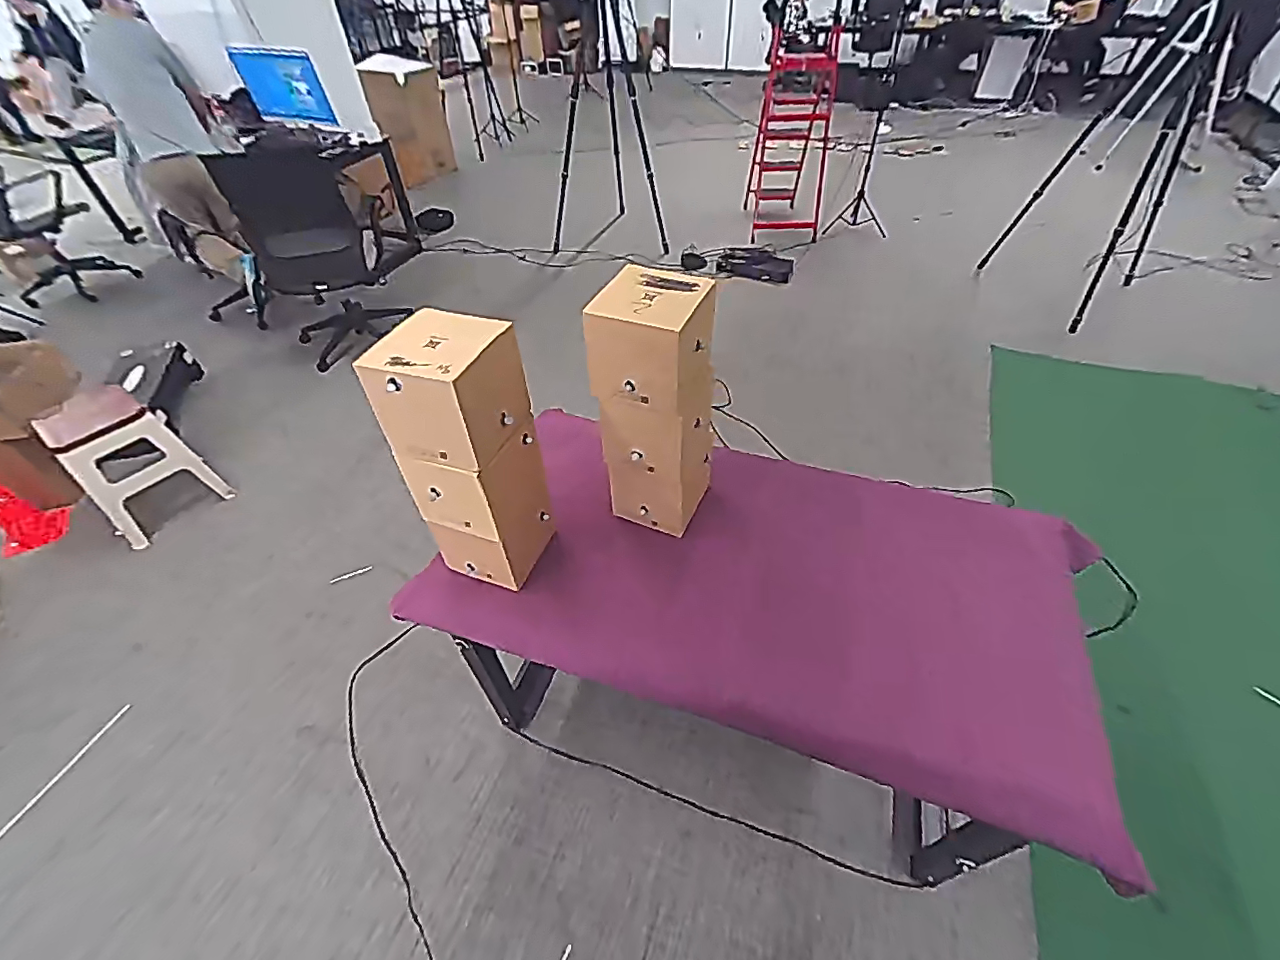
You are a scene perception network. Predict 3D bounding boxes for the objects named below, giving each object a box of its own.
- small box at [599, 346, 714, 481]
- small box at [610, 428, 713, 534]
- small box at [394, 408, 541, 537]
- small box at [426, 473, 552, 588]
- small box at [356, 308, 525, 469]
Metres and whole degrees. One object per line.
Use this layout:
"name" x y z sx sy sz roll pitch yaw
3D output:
"small box" 0.034 -0.129 1.046 0.168 0.176 0.179 17 50 18
"small box" 0.046 -0.017 1.166 0.168 0.176 0.179 18 50 19
"small box" -0.292 -0.025 0.962 0.168 0.176 0.179 14 46 16
"small box" -0.289 0.082 1.083 0.168 0.176 0.179 14 48 16
"small box" -0.296 -0.146 0.850 0.168 0.176 0.179 12 45 15
